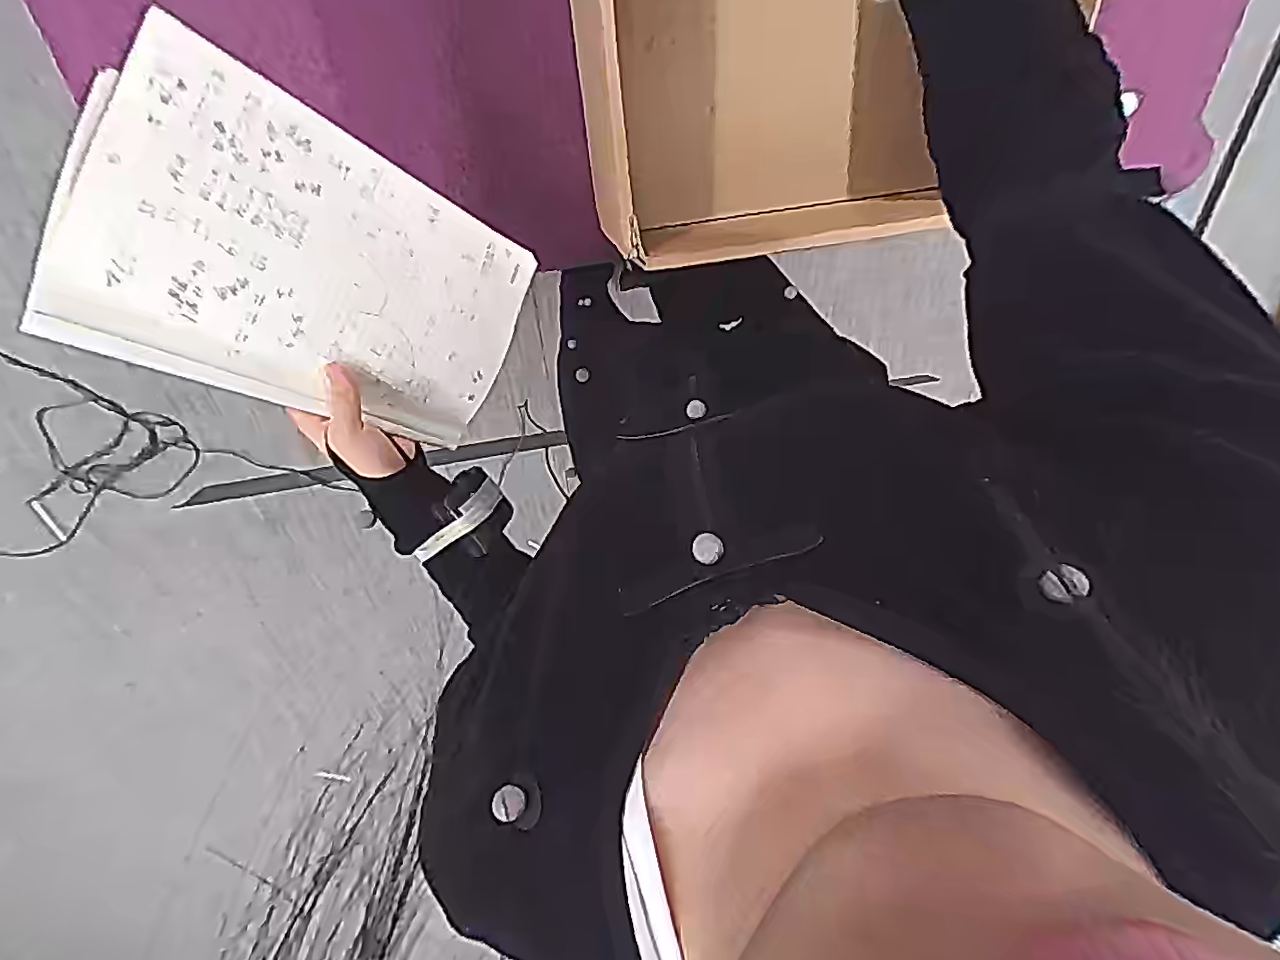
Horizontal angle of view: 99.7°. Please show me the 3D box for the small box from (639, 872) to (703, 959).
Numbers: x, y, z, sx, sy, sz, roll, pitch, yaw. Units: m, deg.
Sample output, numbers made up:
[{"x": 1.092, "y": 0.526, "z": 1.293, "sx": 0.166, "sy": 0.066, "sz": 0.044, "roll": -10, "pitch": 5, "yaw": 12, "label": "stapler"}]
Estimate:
[{"x": 0.094, "y": 1.419, "z": 1.762, "sx": 0.168, "sy": 0.176, "sz": 0.179, "roll": -6, "pitch": 125, "yaw": -12, "label": "small box"}]

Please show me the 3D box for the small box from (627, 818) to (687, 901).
[{"x": 0.054, "y": 1.320, "z": 1.887, "sx": 0.179, "sy": 0.176, "sz": 0.168, "roll": -9, "pitch": 125, "yaw": -12, "label": "small box"}]
